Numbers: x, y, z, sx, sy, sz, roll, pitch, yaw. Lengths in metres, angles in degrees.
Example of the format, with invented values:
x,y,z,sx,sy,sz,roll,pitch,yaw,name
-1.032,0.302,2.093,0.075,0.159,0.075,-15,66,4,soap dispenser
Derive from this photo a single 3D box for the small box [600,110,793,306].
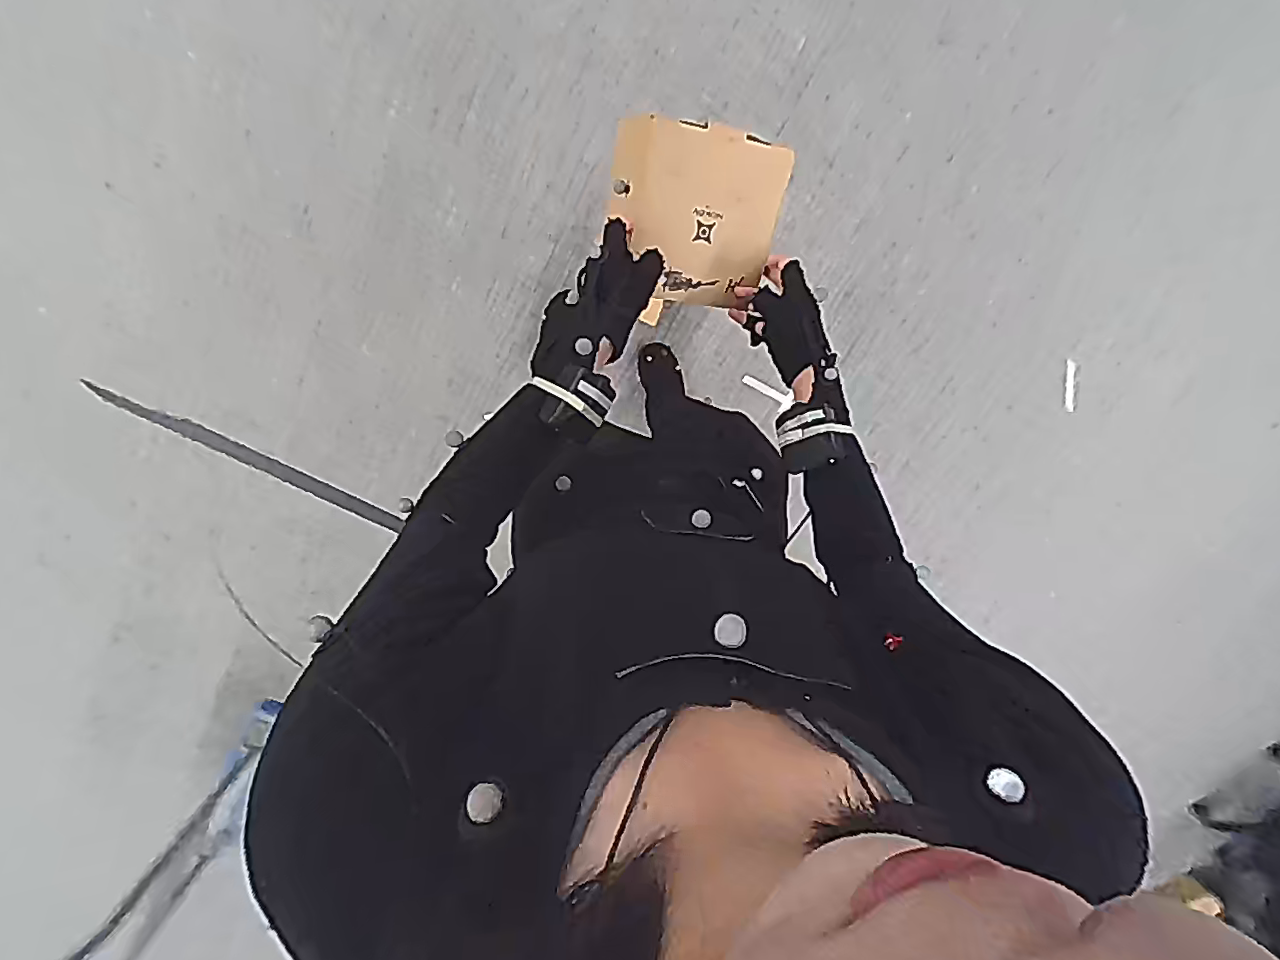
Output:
x,y,z,sx,sy,sz,roll,pitch,yaw,name
0.053,-0.328,0.659,0.168,0.176,0.179,1,121,-18,small box

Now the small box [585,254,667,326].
x,y,z,sx,sy,sz,roll,pitch,yaw,name
-0.017,-0.487,1.286,0.179,0.176,0.168,25,106,-12,small box
